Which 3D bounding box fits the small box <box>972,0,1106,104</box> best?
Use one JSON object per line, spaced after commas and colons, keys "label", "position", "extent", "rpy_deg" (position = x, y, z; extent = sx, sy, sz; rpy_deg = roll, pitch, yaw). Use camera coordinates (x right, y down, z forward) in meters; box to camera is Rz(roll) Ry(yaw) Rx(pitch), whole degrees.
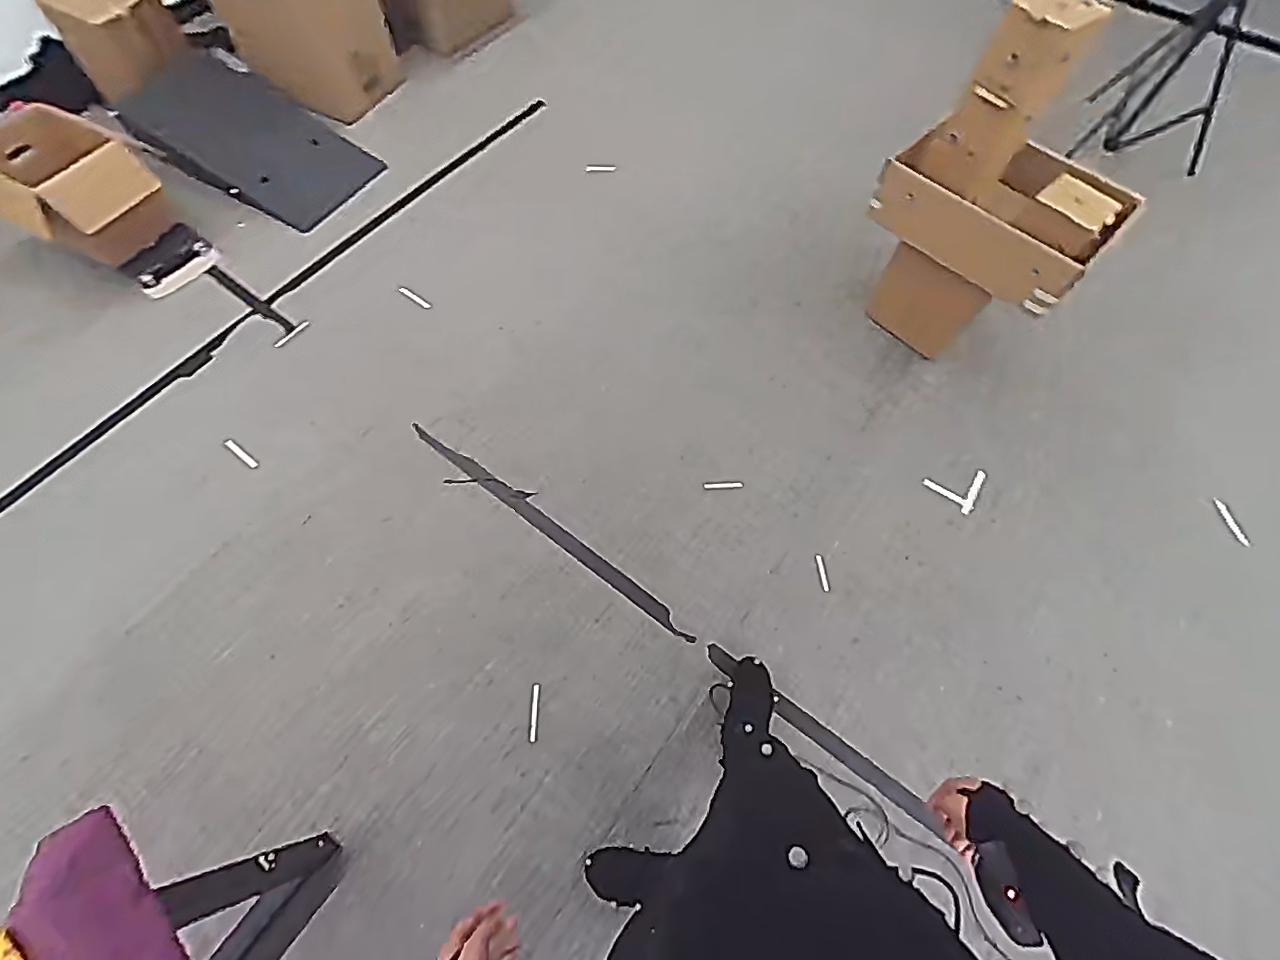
{"label": "small box", "position": [0.960, -1.065, 1.324], "extent": [0.179, 0.176, 0.168], "rpy_deg": [-30, 69, -14]}

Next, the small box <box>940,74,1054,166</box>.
{"label": "small box", "position": [0.960, -0.998, 1.475], "extent": [0.179, 0.176, 0.168], "rpy_deg": [-34, 69, -17]}
